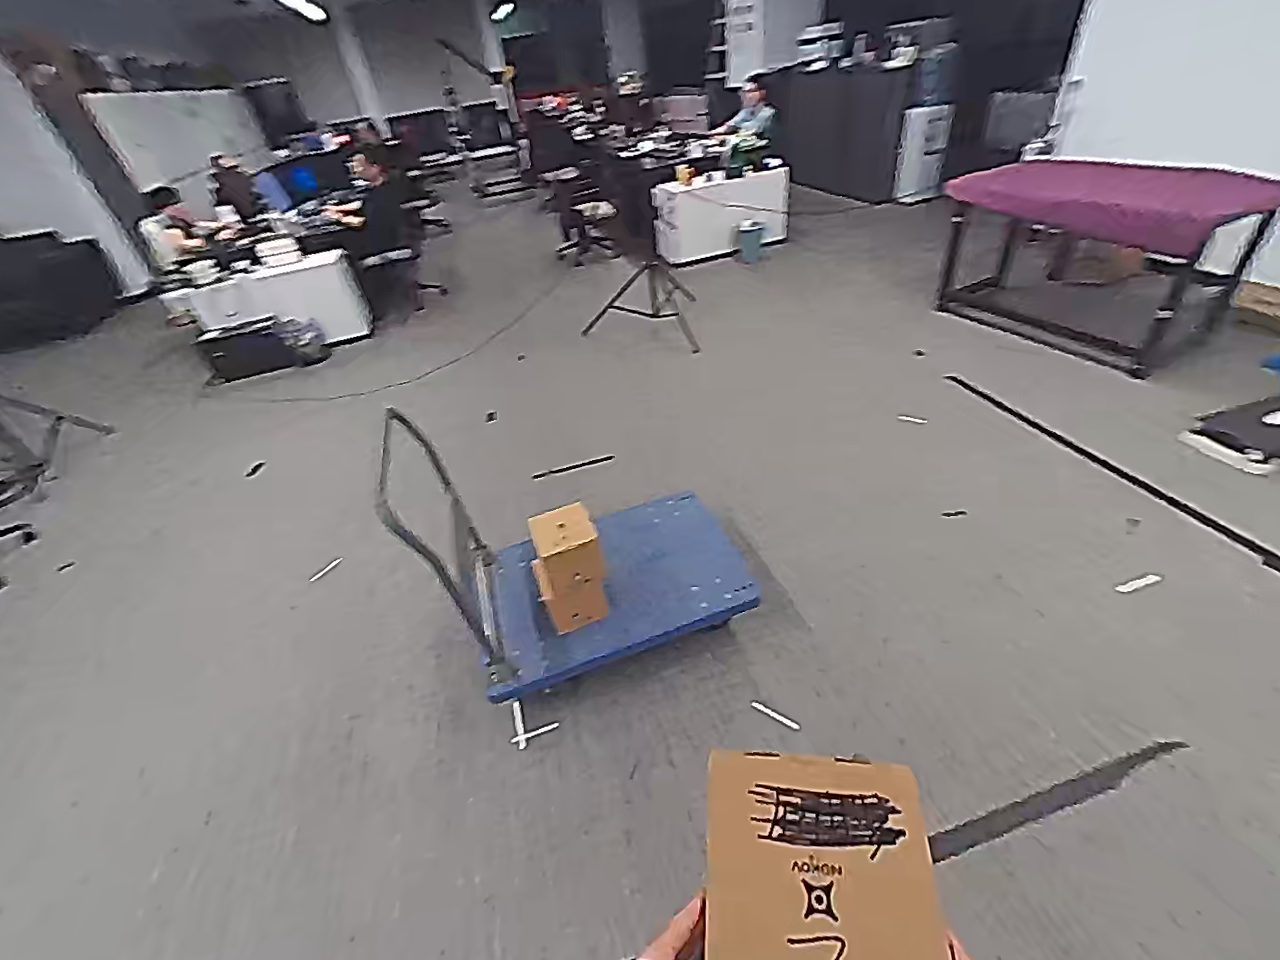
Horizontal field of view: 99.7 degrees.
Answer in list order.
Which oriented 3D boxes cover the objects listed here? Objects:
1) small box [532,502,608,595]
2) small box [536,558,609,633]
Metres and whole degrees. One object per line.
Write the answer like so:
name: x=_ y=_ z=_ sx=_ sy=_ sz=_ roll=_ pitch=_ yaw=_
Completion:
small box: x=-0.203 y=0.199 z=1.569 sx=0.168 sy=0.176 sz=0.179 roll=-19 pitch=40 yaw=-12
small box: x=-0.207 y=0.334 z=1.666 sx=0.168 sy=0.176 sz=0.179 roll=-19 pitch=40 yaw=-13
